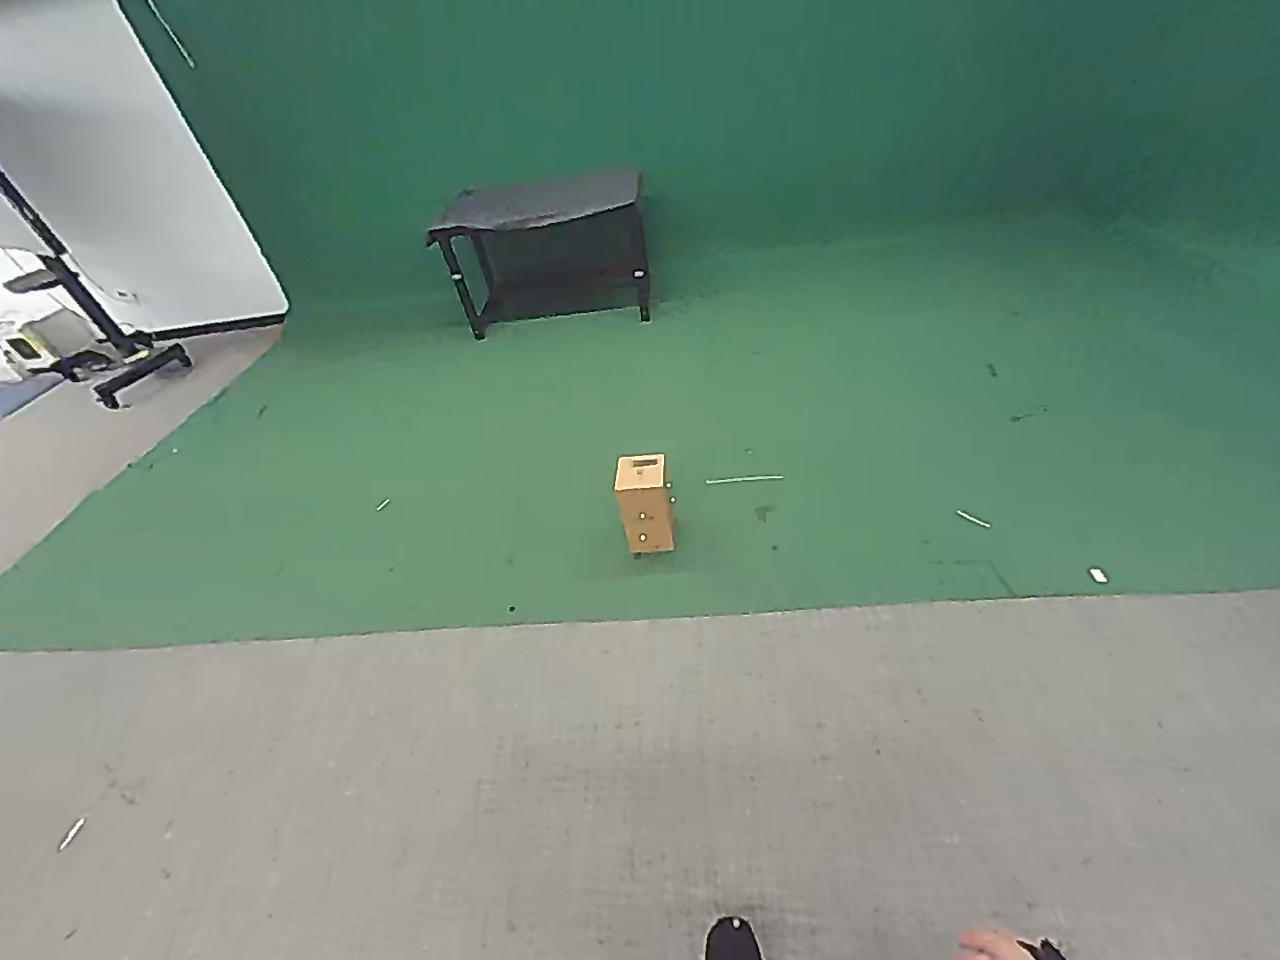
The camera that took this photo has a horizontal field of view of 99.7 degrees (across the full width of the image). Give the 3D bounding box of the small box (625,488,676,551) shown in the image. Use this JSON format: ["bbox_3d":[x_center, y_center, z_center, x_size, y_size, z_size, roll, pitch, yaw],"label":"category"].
[{"bbox_3d":[0.045,0.153,2.010,0.168,0.176,0.179,-5,40,8],"label":"small box"}]
